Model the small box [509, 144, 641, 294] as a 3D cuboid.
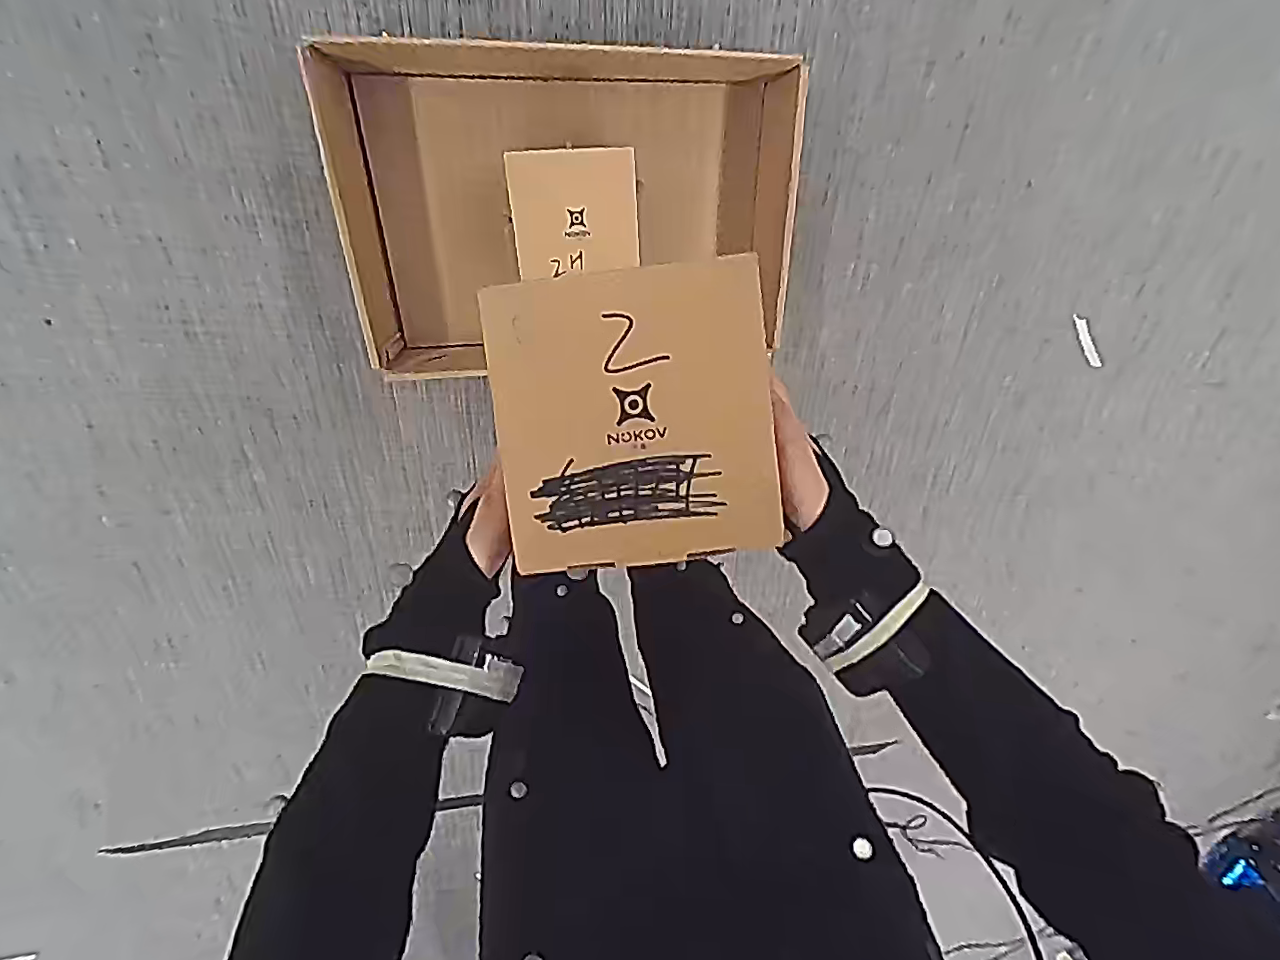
[{"bbox_3d":[-0.095,-0.374,0.782,0.168,0.176,0.179,-7,118,-8],"label":"small box"}]
